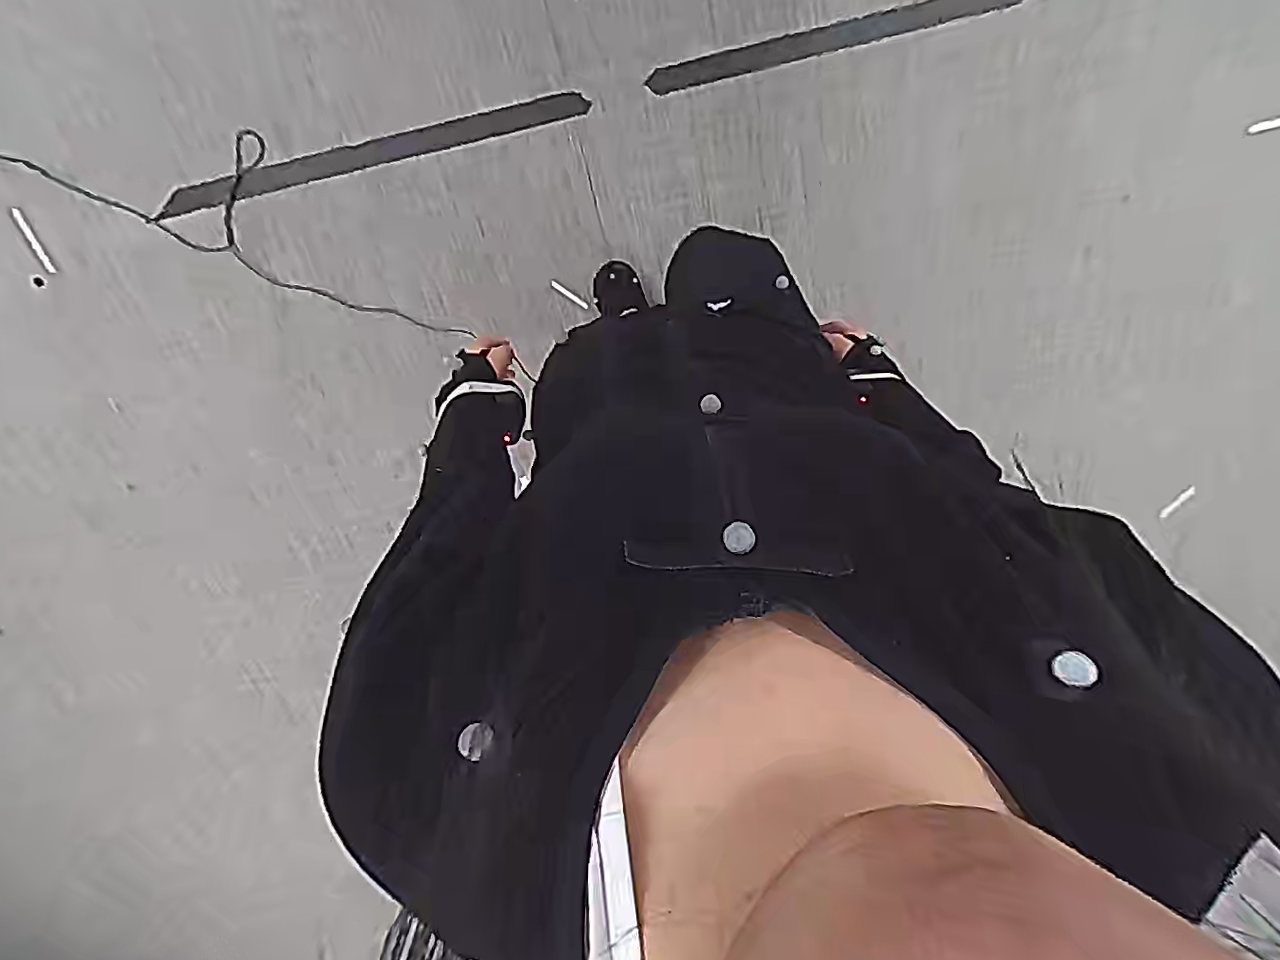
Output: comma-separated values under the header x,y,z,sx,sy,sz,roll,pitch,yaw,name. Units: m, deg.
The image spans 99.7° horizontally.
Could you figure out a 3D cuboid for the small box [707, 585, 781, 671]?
x,y,z,sx,sy,sz,roll,pitch,yaw,name
0.312,0.441,1.649,0.168,0.176,0.179,-17,112,4,small box
